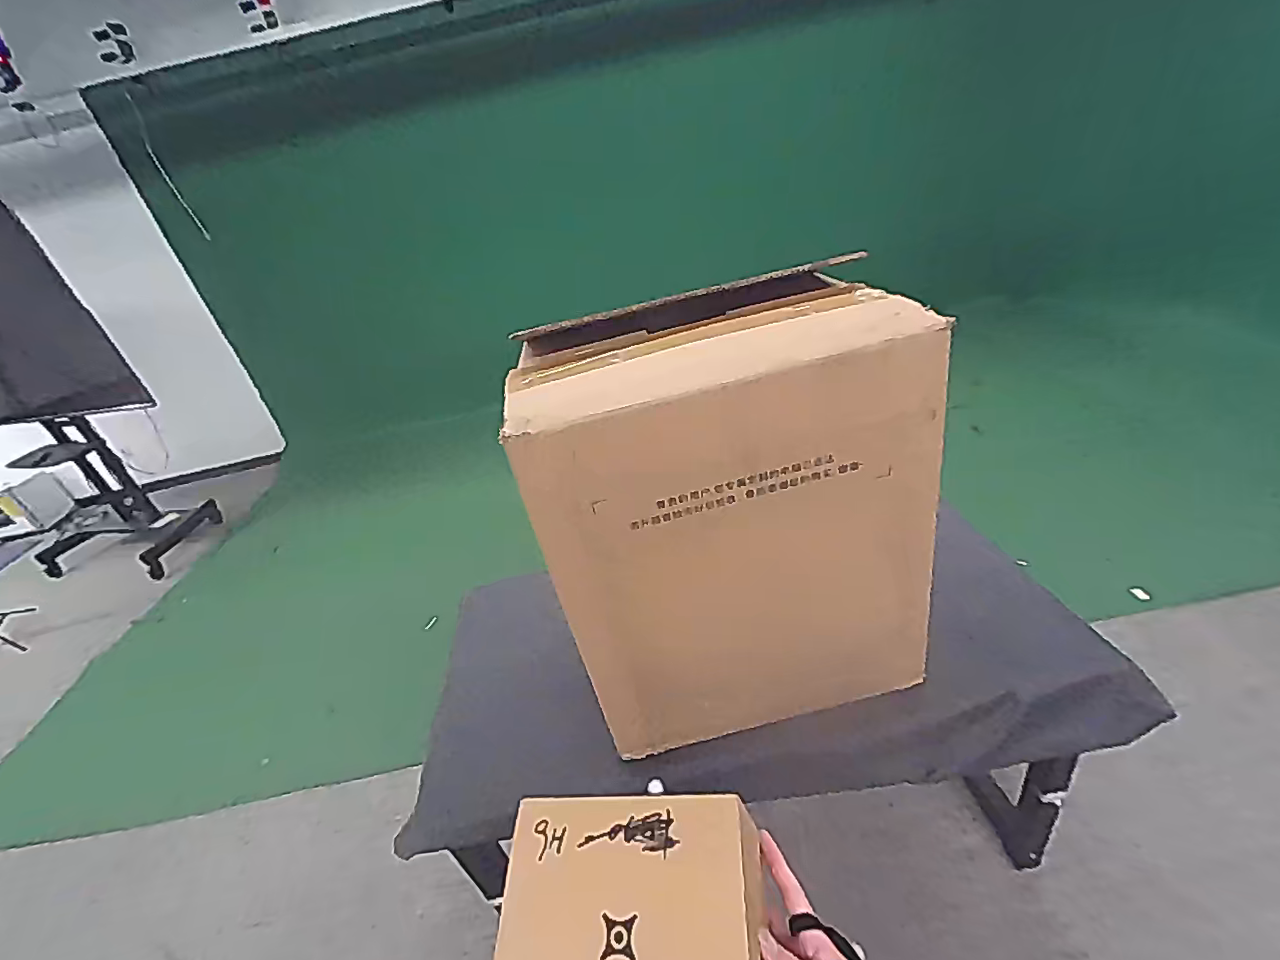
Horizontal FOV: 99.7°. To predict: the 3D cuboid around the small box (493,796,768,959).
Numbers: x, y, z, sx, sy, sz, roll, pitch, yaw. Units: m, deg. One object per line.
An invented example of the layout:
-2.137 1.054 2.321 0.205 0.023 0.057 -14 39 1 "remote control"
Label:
0.004 0.345 0.394 0.168 0.176 0.179 -9 49 11 "small box"
